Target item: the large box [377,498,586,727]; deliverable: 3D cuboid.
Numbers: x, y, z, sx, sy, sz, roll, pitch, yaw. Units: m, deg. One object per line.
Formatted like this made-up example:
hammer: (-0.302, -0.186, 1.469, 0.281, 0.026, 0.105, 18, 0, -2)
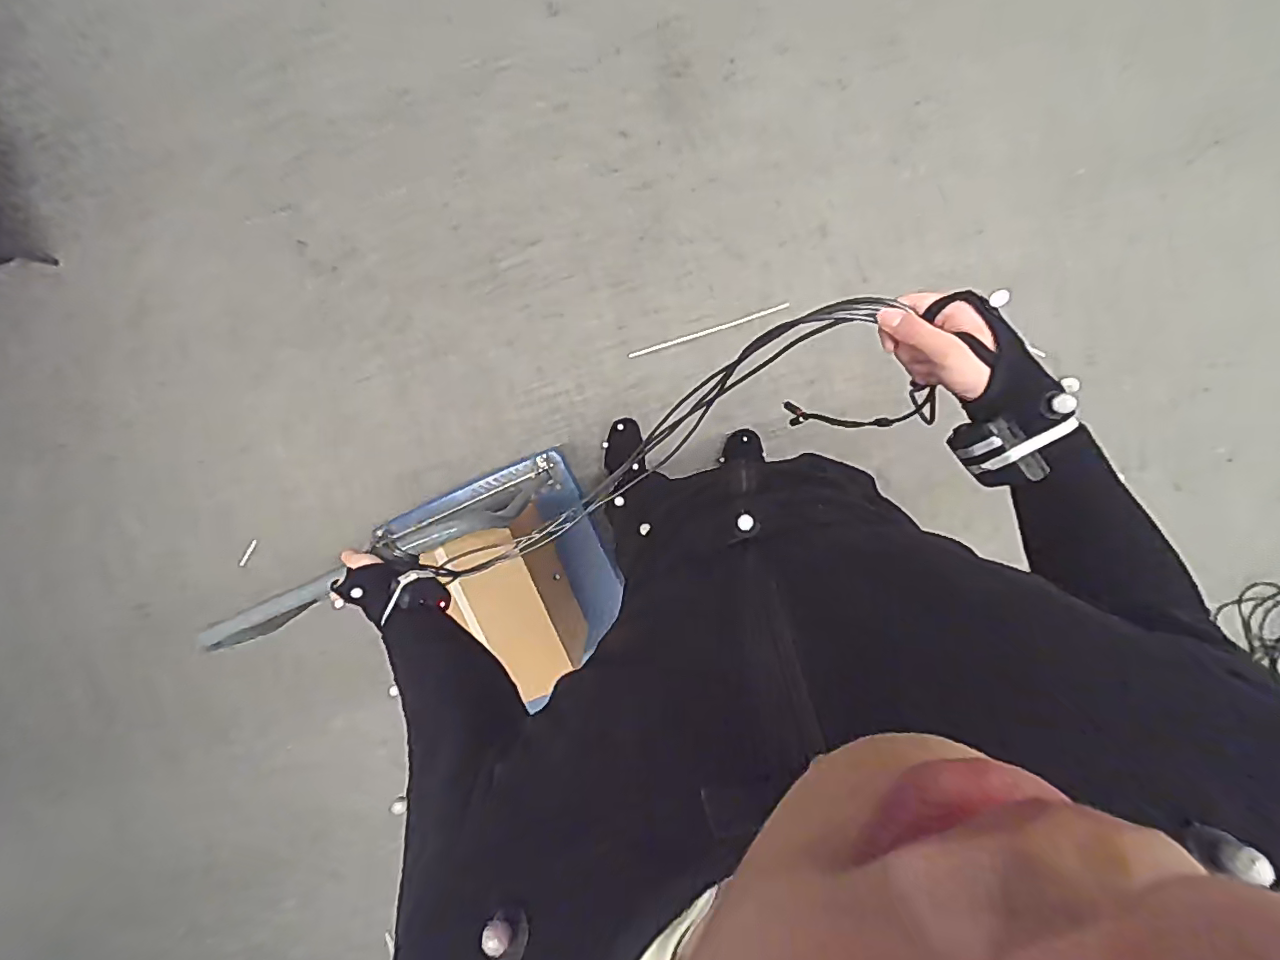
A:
large box: (-0.358, 0.301, 1.333, 0.320, 0.320, 0.408, -23, 96, 2)
